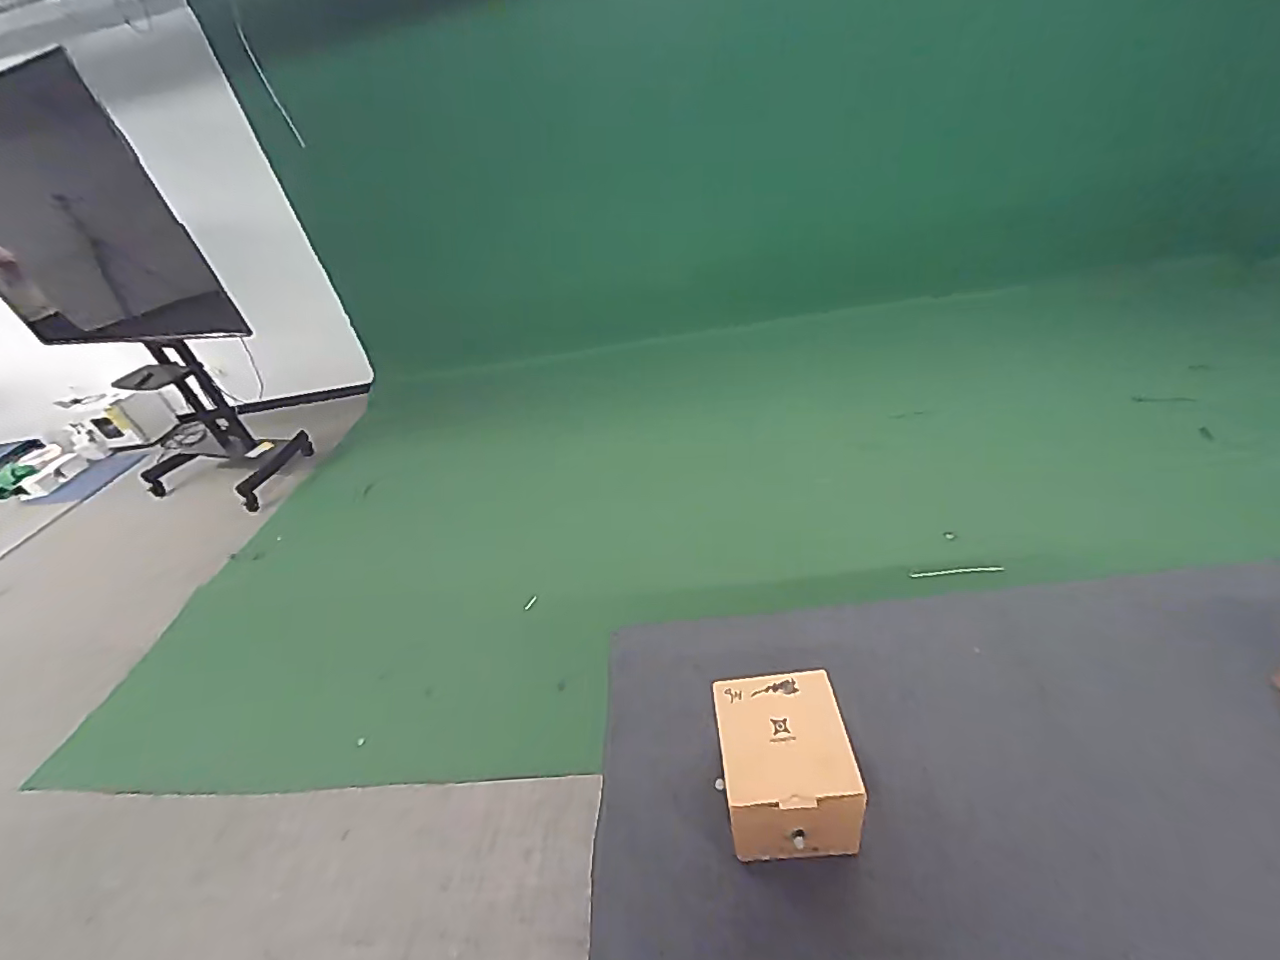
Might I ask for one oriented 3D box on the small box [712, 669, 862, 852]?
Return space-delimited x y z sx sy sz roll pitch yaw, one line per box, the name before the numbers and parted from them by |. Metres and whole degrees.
small box | 0.199 0.396 0.759 0.168 0.176 0.179 -8 36 5
